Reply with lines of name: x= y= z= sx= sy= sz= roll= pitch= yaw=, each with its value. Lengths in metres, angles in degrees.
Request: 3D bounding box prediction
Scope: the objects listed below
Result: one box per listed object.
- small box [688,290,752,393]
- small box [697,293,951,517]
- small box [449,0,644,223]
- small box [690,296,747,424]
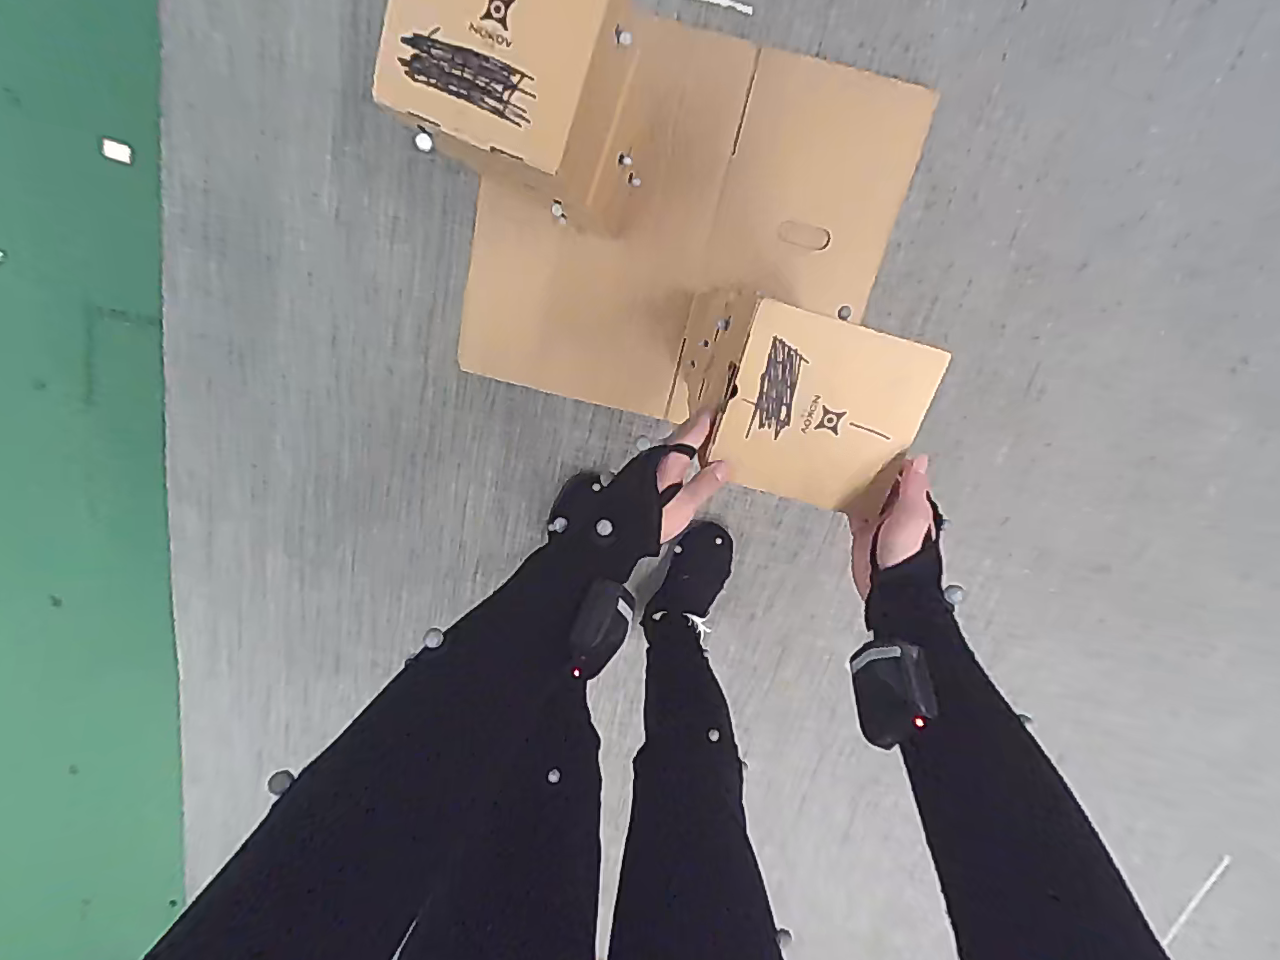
small box: x=0.183 y=-0.207 z=0.898 sx=0.179 sy=0.176 sz=0.168 roll=15 pitch=108 yaw=-2
small box: x=0.166 y=-0.086 z=0.560 sx=0.179 sy=0.176 sz=0.168 roll=15 pitch=109 yaw=-4
small box: x=-0.102 y=-0.434 z=0.663 sx=0.179 sy=0.176 sz=0.168 roll=21 pitch=107 yaw=-4
small box: x=0.174 y=-0.152 z=0.746 sx=0.179 sy=0.176 sz=0.168 roll=14 pitch=108 yaw=0
